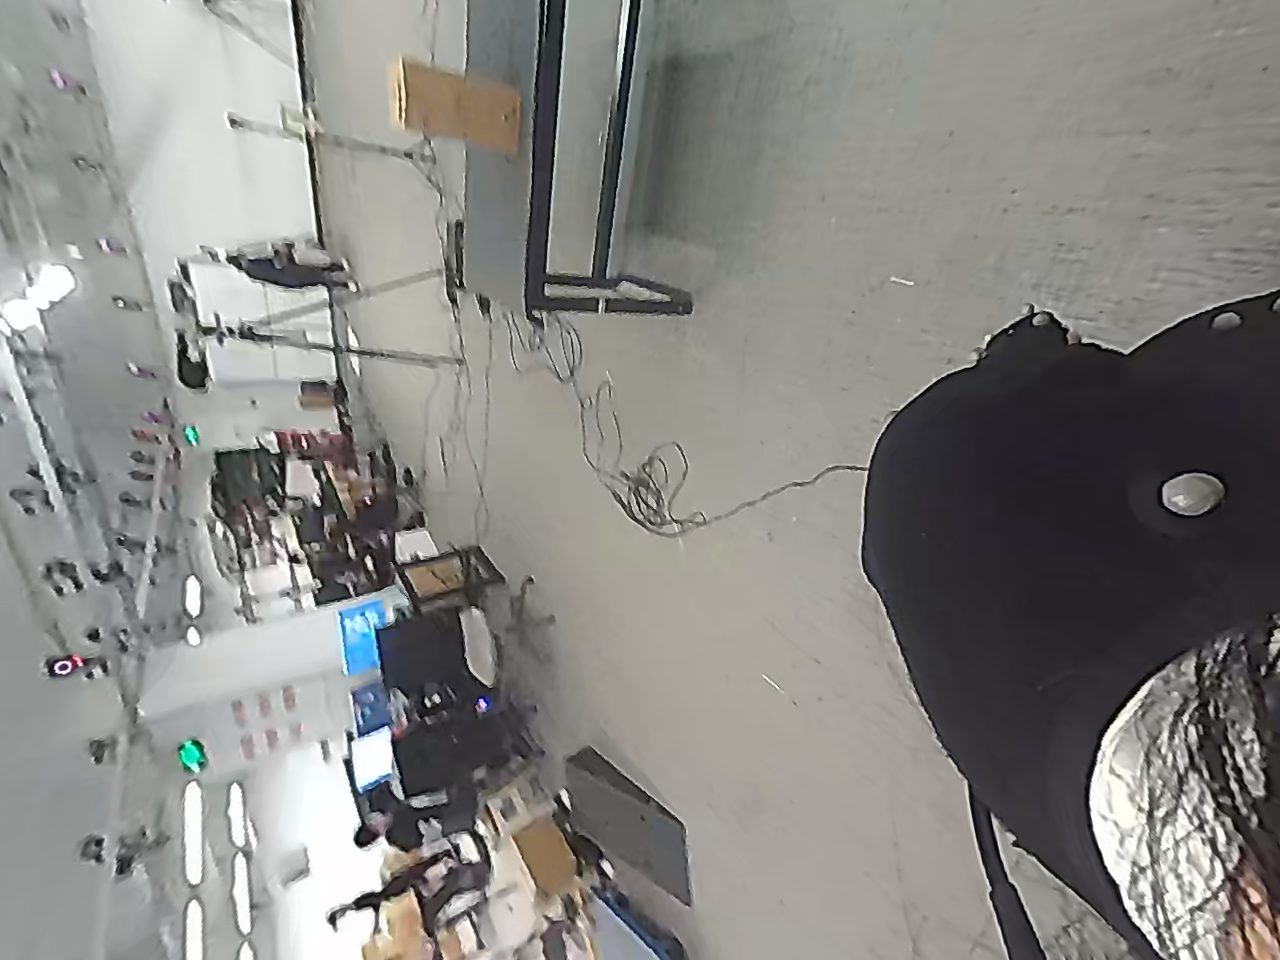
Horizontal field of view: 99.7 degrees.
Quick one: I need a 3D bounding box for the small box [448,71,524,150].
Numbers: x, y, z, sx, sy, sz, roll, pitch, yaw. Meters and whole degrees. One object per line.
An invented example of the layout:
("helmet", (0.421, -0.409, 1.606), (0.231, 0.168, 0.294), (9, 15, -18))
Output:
("small box", (-0.468, -1.115, 1.637), (0.179, 0.176, 0.168), (43, 132, 41))
